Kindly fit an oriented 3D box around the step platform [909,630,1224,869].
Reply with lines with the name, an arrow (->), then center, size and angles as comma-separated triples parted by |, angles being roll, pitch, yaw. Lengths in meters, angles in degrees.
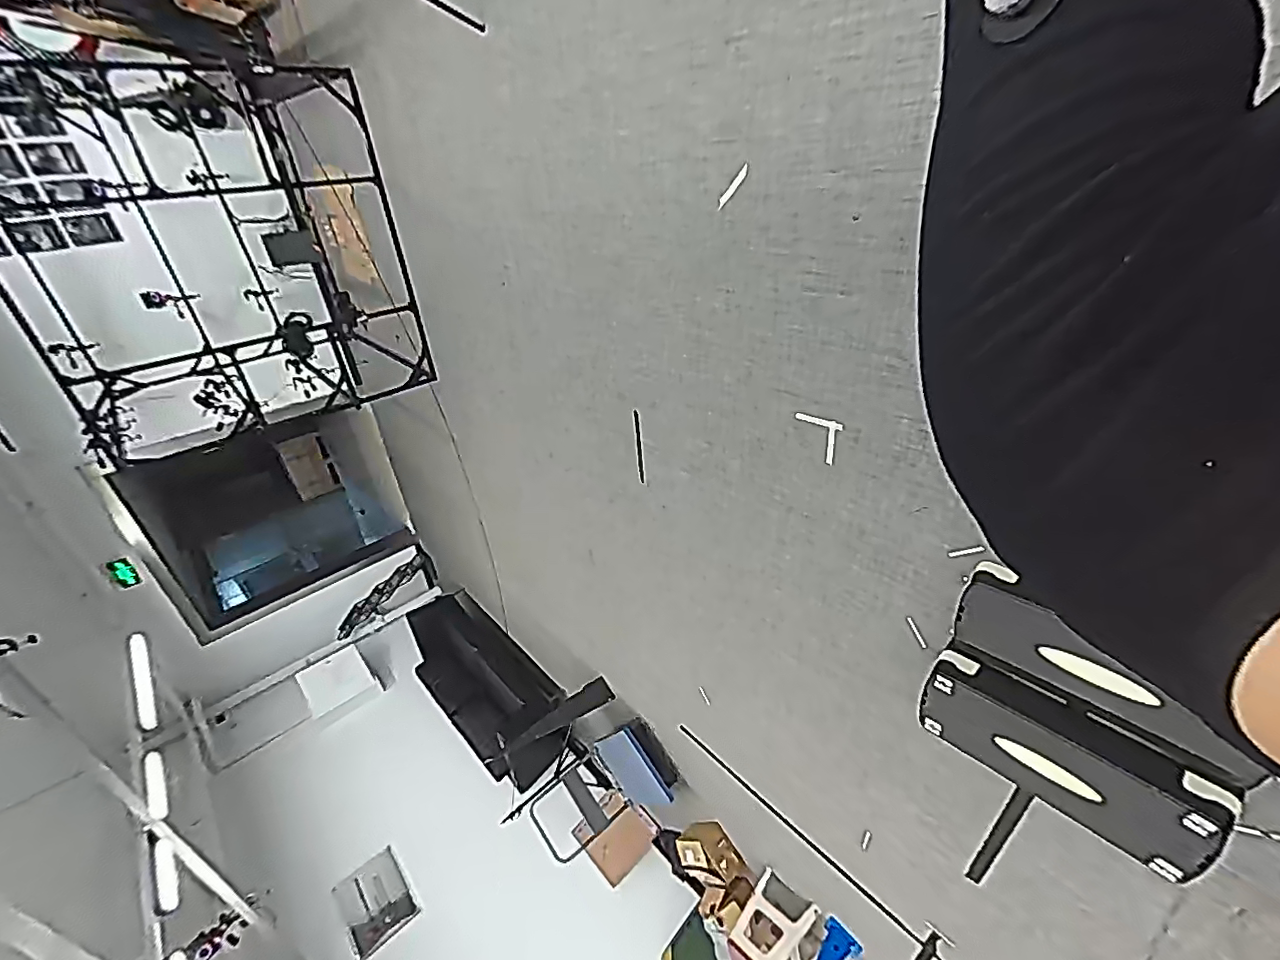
step platform -> 1.146, 0.733, 1.541 | 0.684, 0.204, 0.286 | 27, 133, 43
